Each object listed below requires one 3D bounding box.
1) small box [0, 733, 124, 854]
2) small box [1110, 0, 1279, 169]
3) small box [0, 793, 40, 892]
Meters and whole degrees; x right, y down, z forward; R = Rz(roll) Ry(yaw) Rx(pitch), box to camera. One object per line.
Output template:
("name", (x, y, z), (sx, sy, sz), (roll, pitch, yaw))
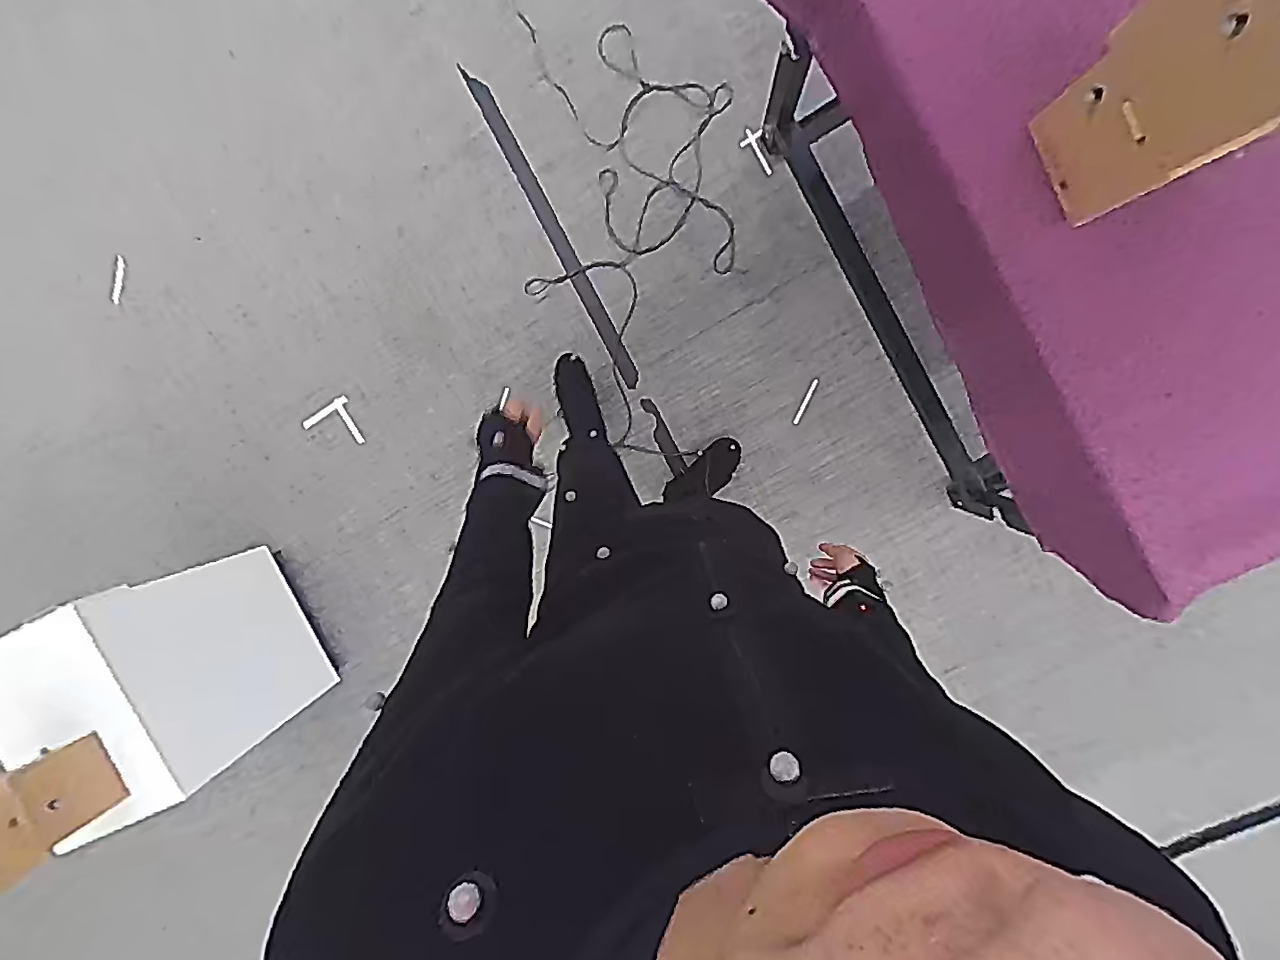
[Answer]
("small box", (-1.295, 0.693, 1.174), (0.168, 0.176, 0.179), (-24, 93, 8))
("small box", (0.629, -0.457, 0.535), (0.168, 0.176, 0.179), (-25, 94, 8))
("small box", (-1.303, 0.728, 1.015), (0.179, 0.176, 0.168), (-22, 94, 8))
